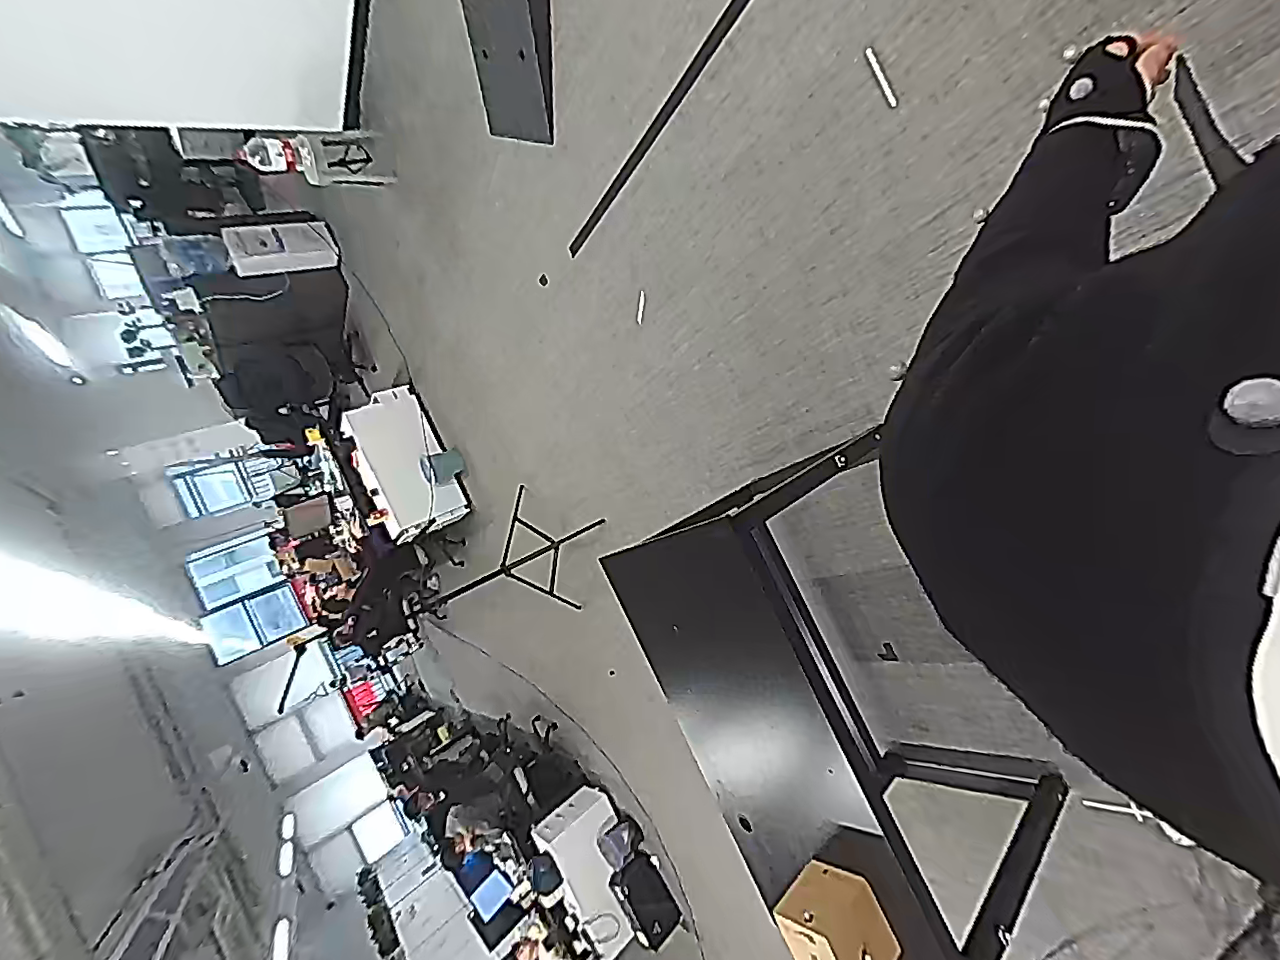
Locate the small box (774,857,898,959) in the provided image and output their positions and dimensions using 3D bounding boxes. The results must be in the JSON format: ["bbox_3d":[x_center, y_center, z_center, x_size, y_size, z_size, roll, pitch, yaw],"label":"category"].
[{"bbox_3d":[0.450,1.020,1.235,0.168,0.176,0.179,-31,85,55],"label":"small box"}]
